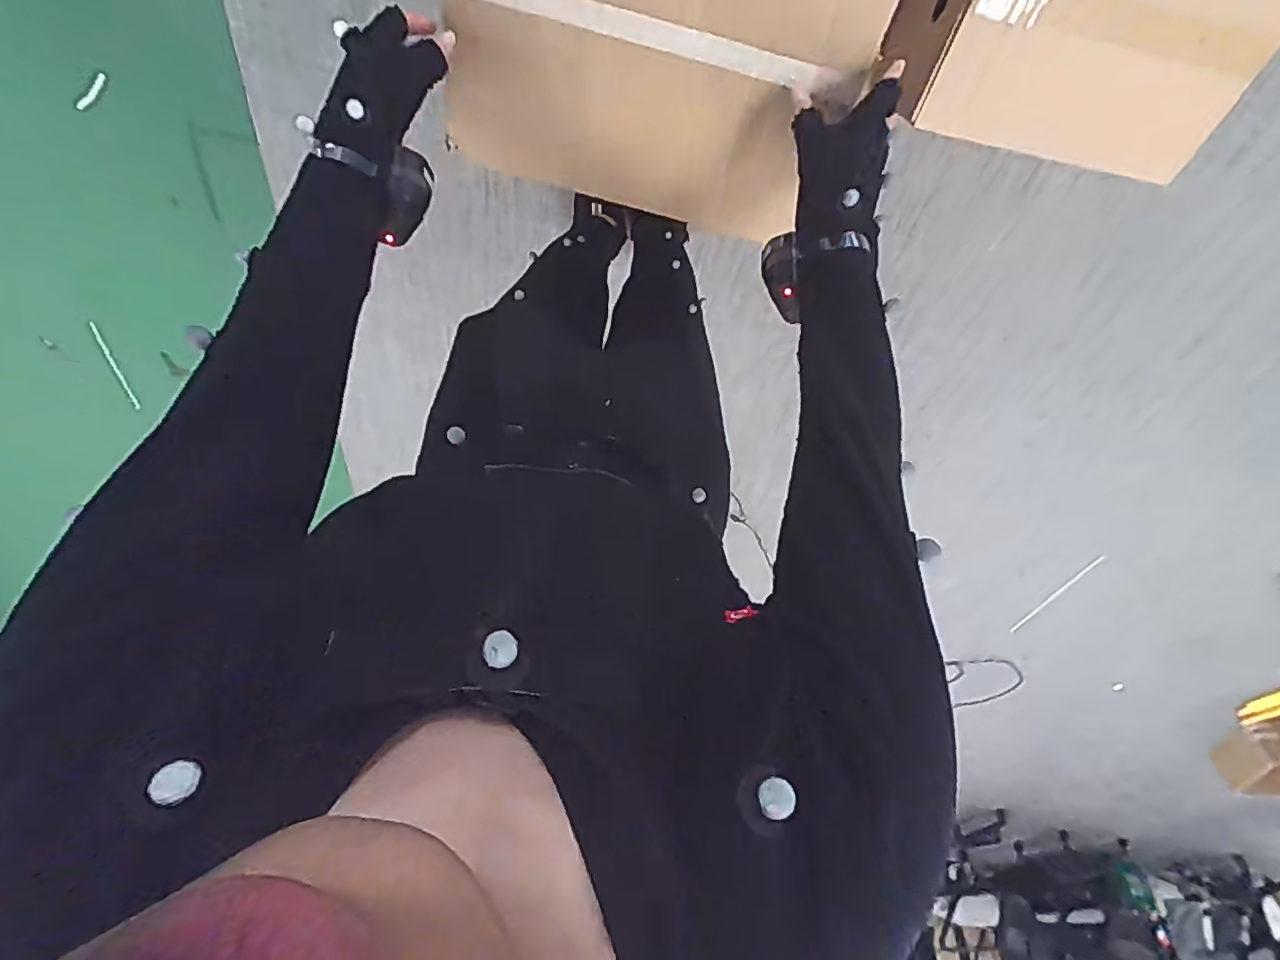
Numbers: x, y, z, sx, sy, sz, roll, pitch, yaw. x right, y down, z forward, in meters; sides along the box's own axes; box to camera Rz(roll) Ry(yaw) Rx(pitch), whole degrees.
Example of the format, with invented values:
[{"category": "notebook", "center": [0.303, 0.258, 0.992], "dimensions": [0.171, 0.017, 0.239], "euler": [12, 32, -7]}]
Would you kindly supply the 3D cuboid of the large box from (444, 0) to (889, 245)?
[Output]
[{"category": "large box", "center": [0.032, -0.522, 0.610], "dimensions": [0.408, 0.320, 0.320], "euler": [14, 136, -4]}]
